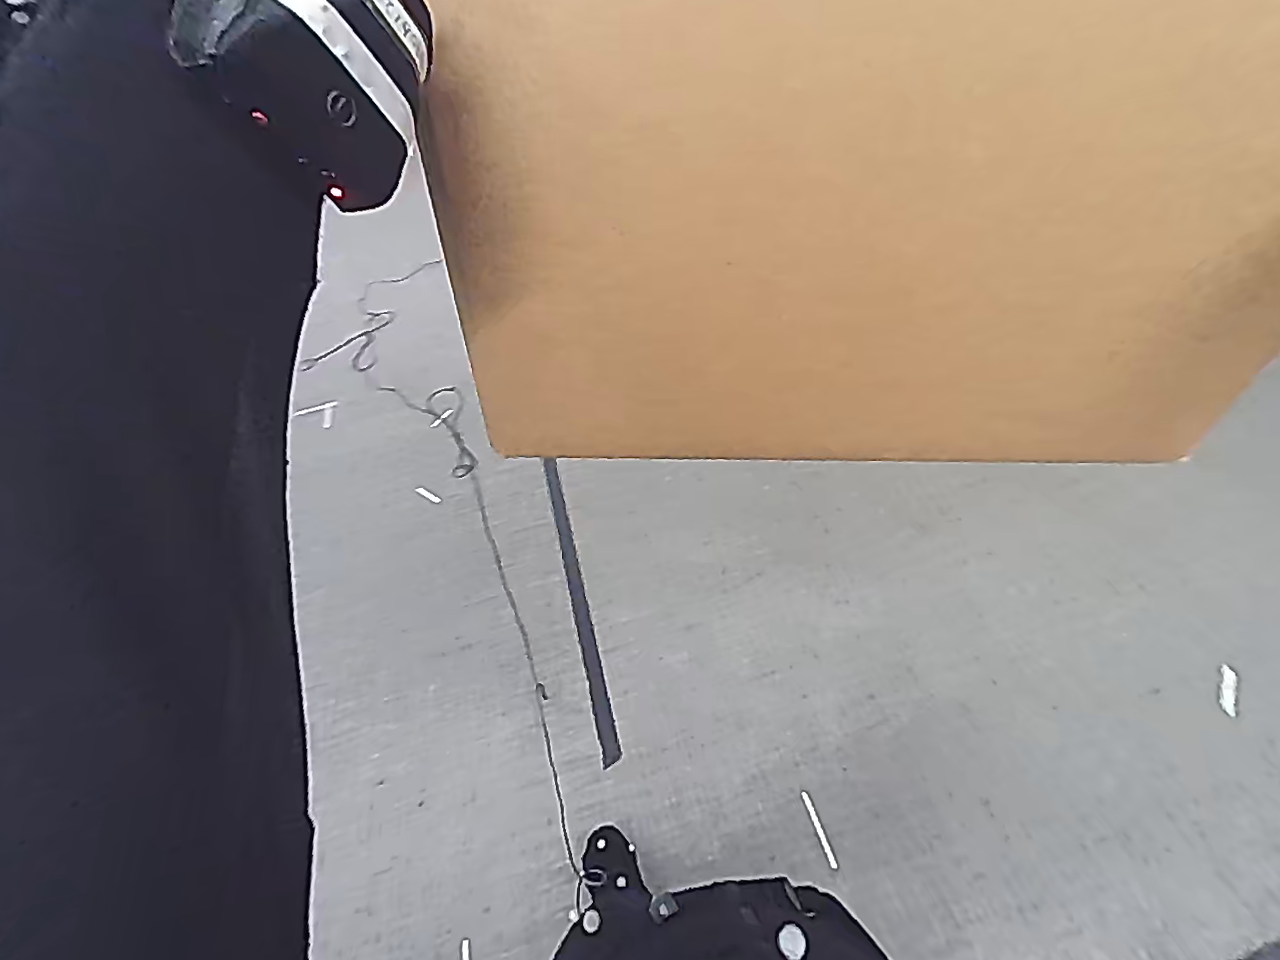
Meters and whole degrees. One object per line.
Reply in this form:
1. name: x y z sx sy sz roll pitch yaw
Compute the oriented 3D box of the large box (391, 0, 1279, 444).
1. large box: 0.103 -0.232 0.335 0.408 0.320 0.320 0 42 -1
